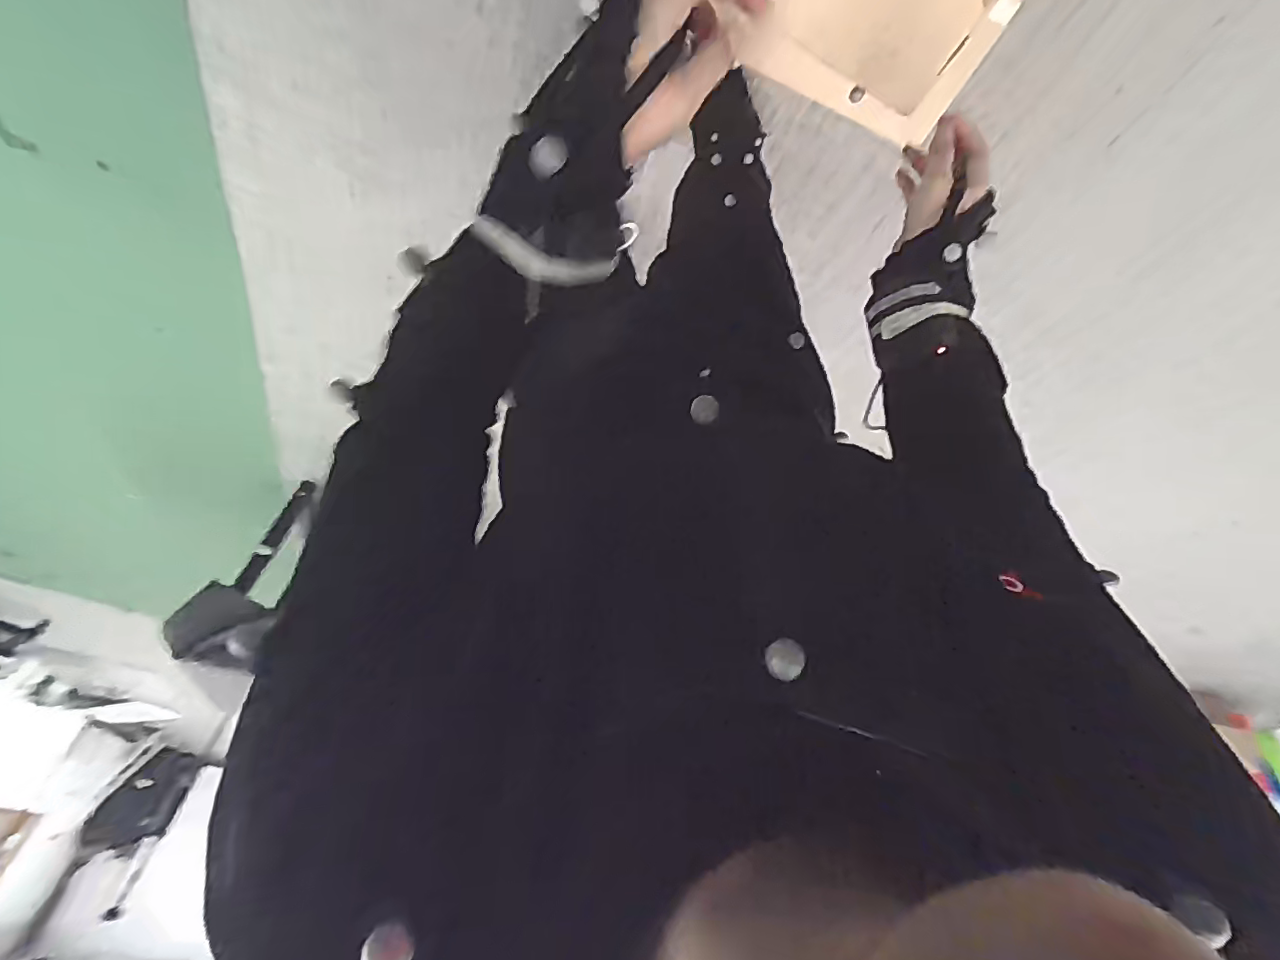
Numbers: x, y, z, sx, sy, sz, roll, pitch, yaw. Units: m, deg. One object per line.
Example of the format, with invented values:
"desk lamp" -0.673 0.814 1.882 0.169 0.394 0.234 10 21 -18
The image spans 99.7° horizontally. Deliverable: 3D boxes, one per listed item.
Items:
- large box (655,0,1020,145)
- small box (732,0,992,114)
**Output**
"large box" 0.265 -0.719 0.694 0.408 0.320 0.320 18 140 -11
"small box" 0.182 -0.431 0.415 0.179 0.176 0.168 21 138 -15
